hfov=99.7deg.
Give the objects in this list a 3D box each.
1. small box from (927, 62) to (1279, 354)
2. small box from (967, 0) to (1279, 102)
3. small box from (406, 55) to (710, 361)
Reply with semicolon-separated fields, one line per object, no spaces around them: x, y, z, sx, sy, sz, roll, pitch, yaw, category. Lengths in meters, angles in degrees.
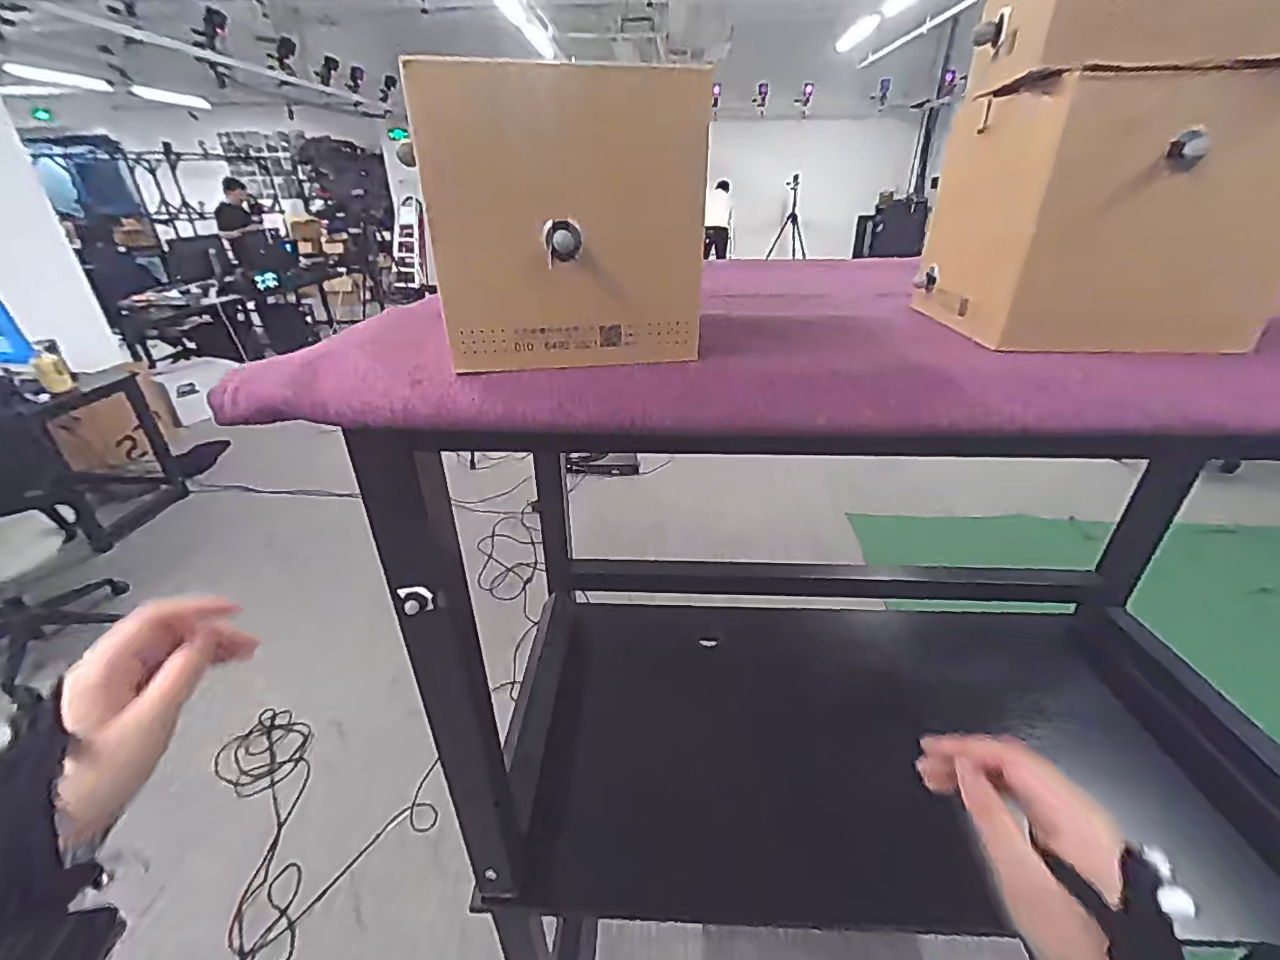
0.345;-0.199;0.414;0.179;0.176;0.168;2;29;3;small box
0.339;-0.341;0.335;0.179;0.176;0.168;6;29;13;small box
-0.053;-0.189;0.396;0.168;0.176;0.179;-4;30;-9;small box
